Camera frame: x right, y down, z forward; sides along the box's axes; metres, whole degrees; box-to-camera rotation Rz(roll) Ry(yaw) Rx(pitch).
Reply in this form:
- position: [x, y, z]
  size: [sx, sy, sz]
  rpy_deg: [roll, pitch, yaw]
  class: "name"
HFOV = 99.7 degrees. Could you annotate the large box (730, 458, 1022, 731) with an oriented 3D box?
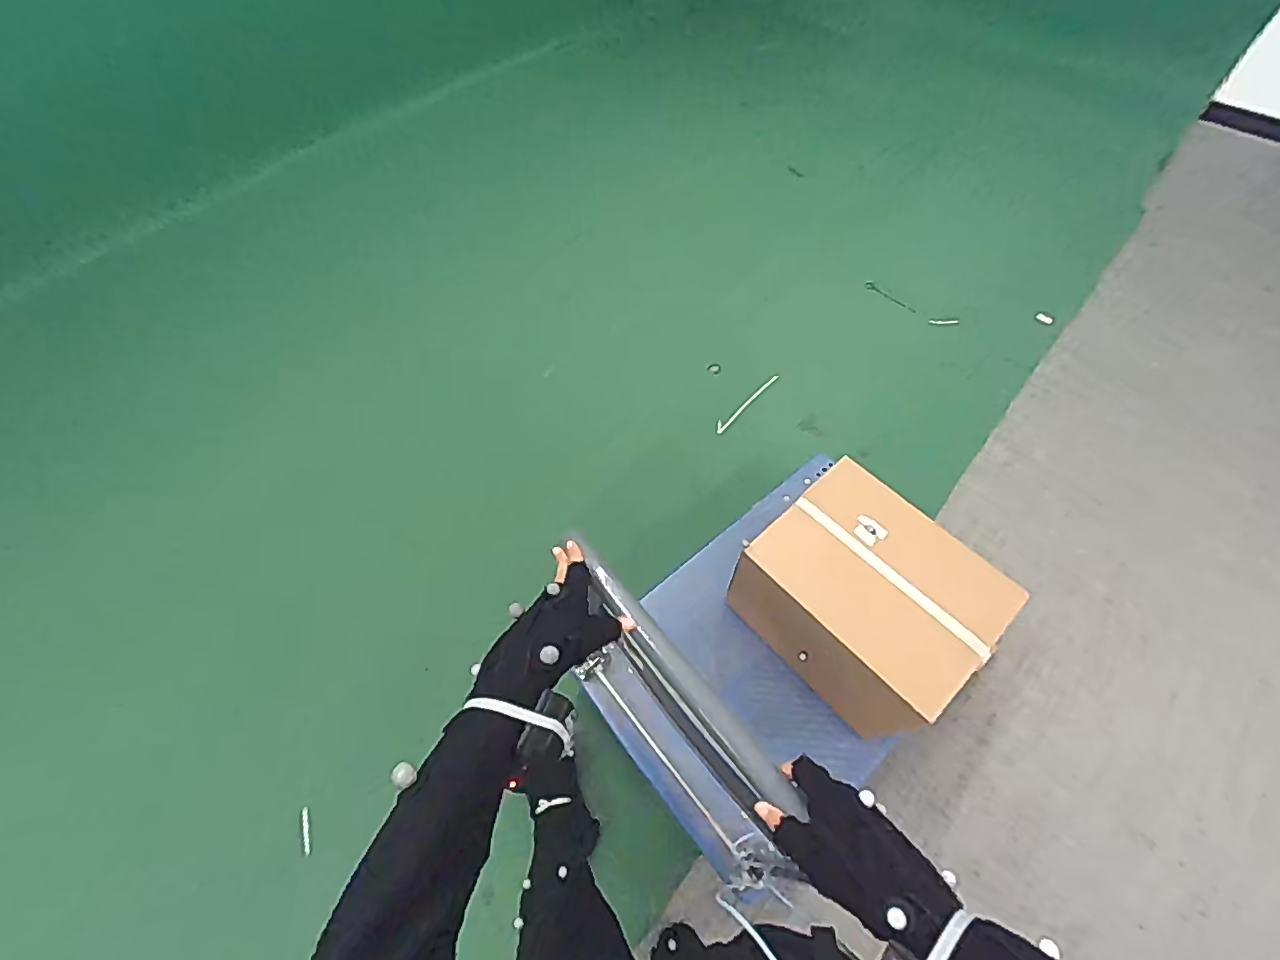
- position: [0.446, 0.239, 1.118]
  size: [0.320, 0.320, 0.408]
  rpy_deg: [-39, 65, -19]
  class: "large box"
